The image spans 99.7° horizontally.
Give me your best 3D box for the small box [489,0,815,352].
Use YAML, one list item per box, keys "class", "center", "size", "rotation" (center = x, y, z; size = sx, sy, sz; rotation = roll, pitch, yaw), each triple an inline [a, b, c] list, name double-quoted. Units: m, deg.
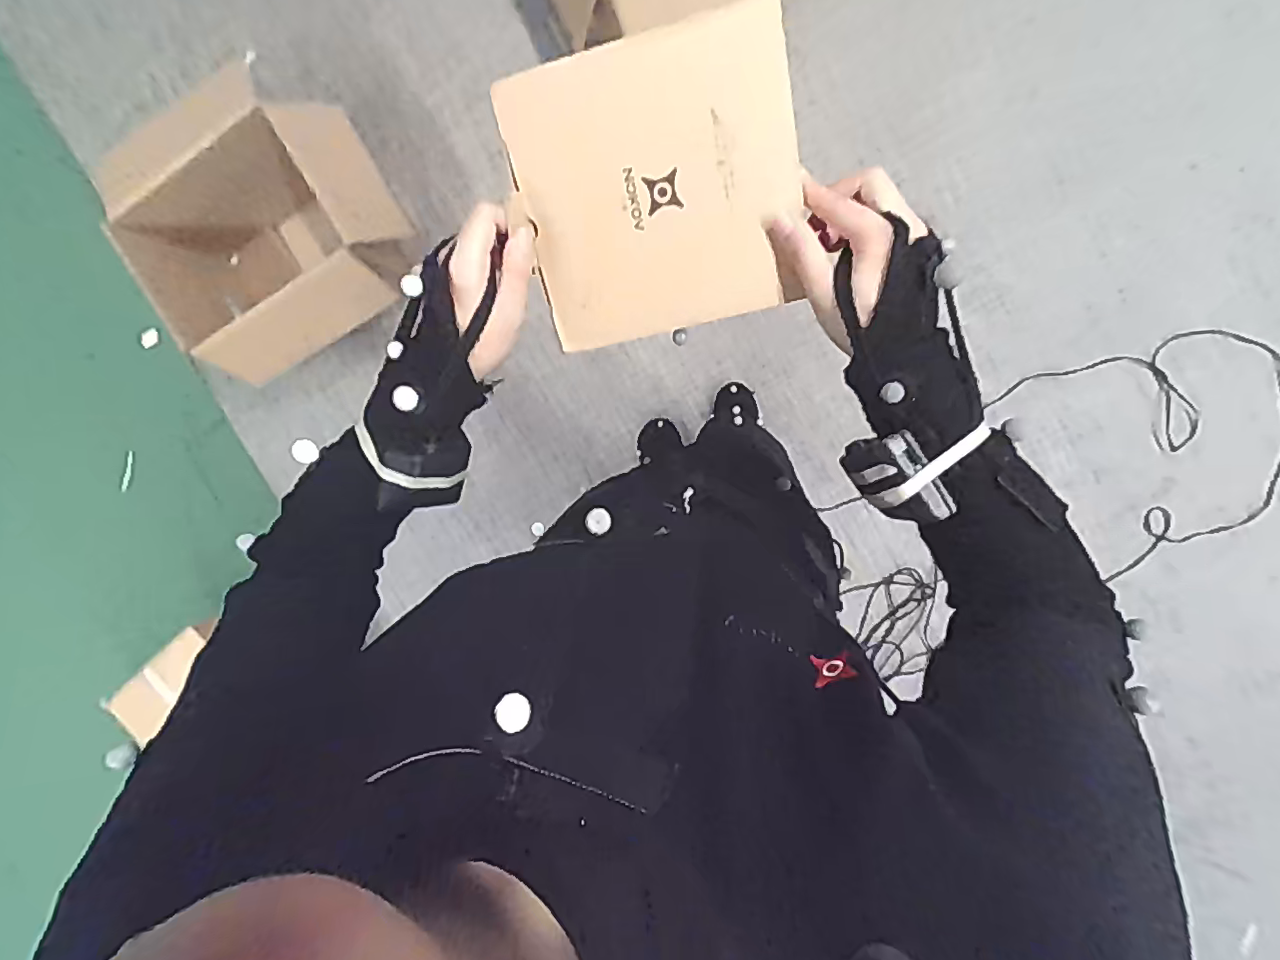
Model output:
- class: "small box"
  center: [0.016, -0.203, 0.406]
  size: [0.179, 0.176, 0.168]
  rotation: [-12, 109, 7]
